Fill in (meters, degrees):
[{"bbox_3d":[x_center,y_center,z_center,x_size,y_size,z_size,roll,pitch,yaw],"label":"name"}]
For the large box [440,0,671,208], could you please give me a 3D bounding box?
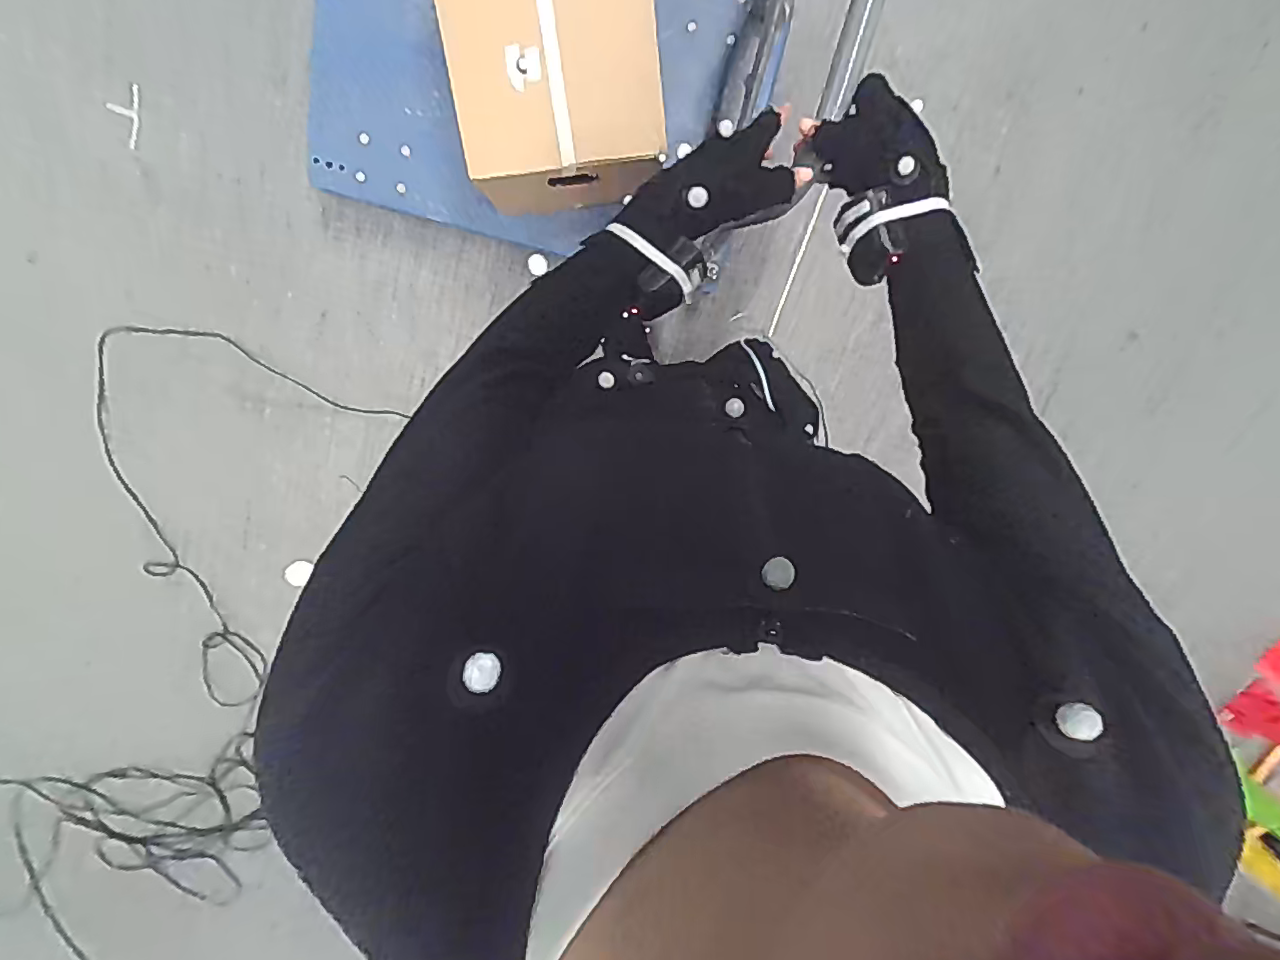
[{"bbox_3d":[-0.140,-0.727,0.927,0.320,0.320,0.408,-8,108,-1],"label":"large box"}]
